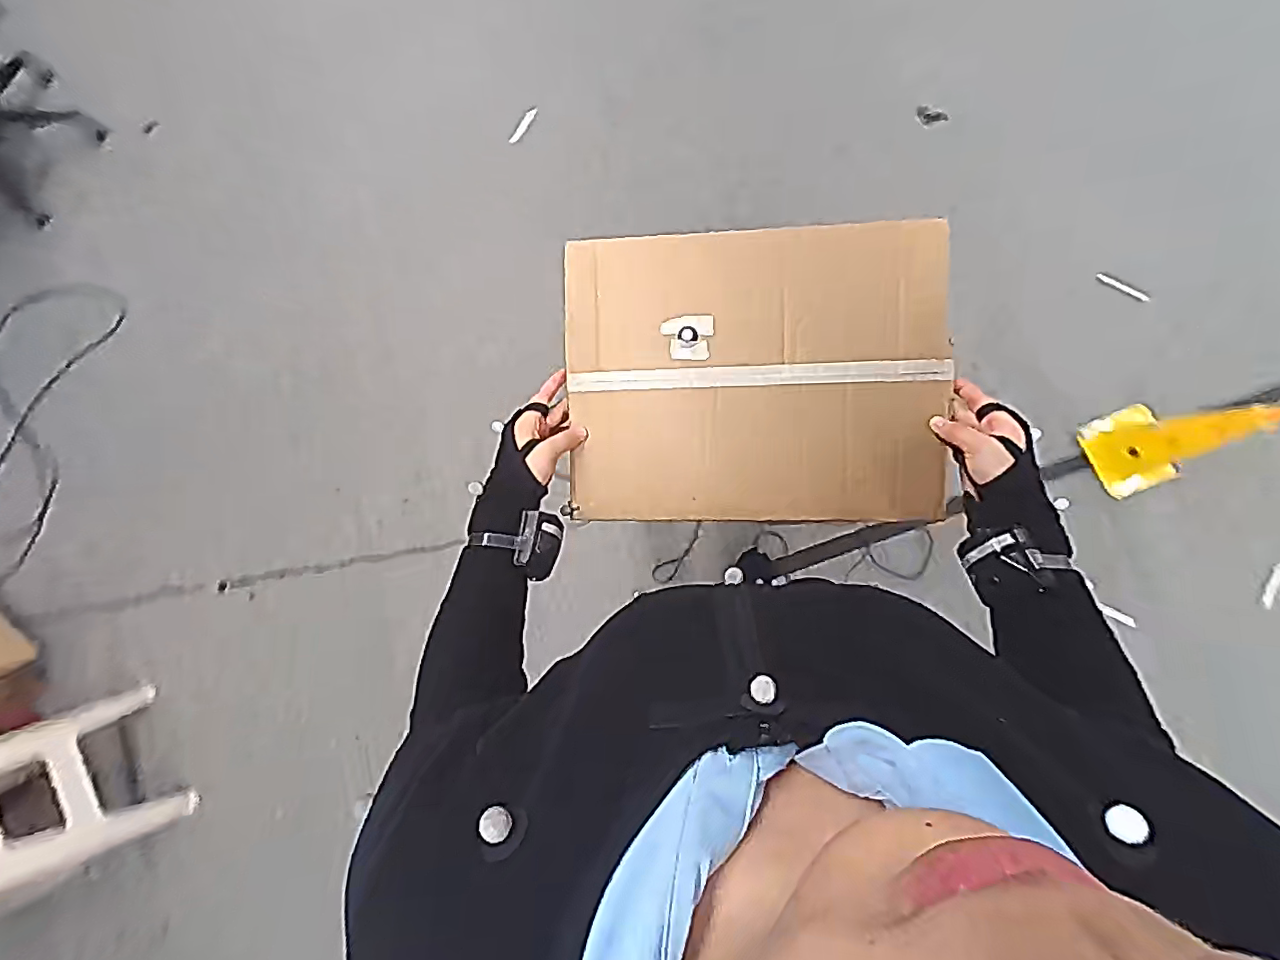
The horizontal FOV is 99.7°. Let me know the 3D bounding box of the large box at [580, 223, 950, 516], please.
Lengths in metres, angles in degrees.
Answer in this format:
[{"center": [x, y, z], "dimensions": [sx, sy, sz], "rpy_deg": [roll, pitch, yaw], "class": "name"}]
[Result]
[{"center": [0.151, -0.124, 0.745], "dimensions": [0.408, 0.320, 0.320], "rpy_deg": [0, 92, 8], "class": "large box"}]
